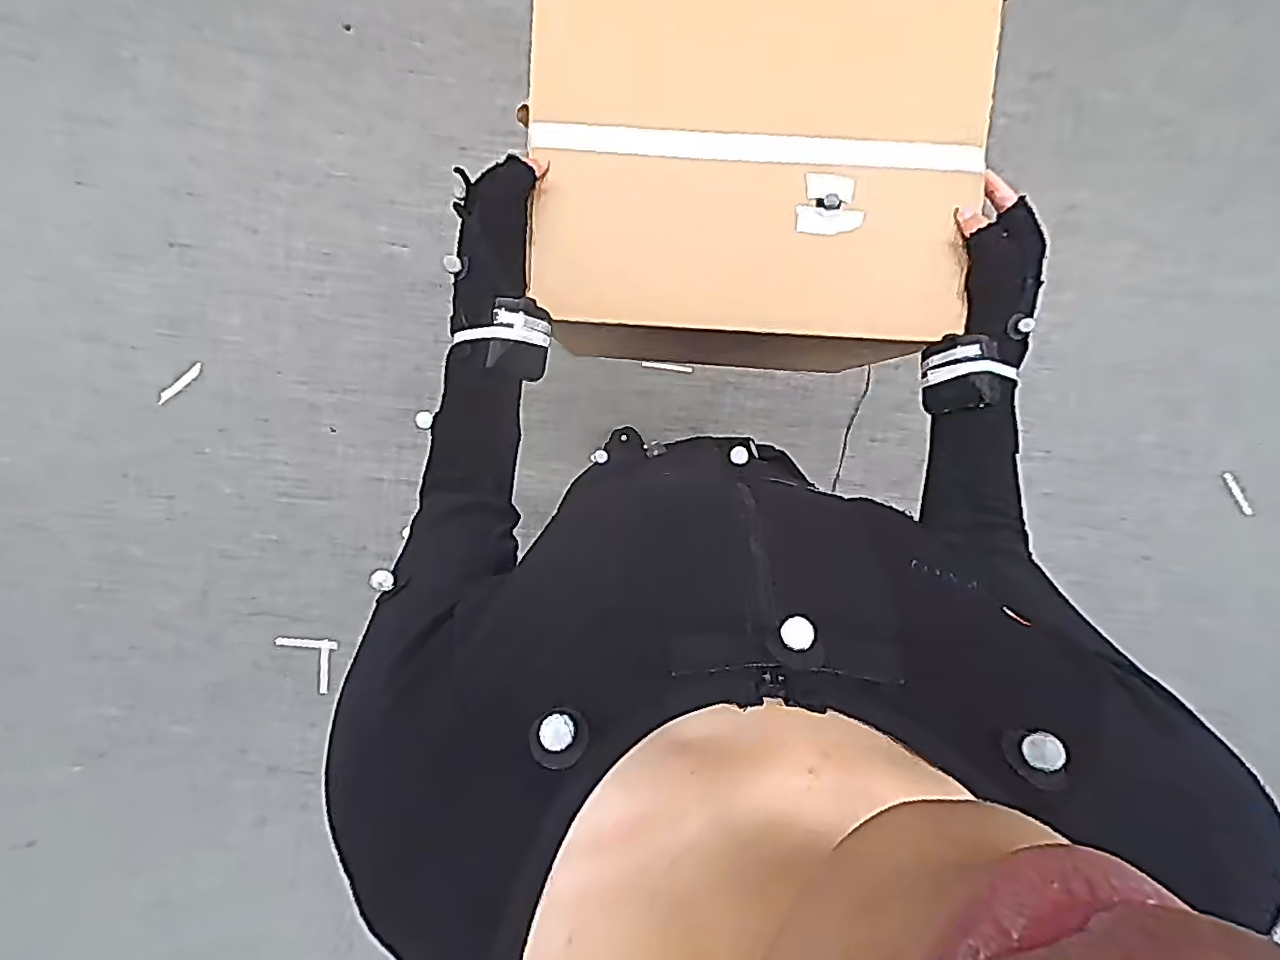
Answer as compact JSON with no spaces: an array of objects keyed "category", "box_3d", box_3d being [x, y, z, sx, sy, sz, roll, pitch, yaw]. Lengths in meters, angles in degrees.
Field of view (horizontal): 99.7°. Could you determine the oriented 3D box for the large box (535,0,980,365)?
[{"category":"large box","box_3d":[0.100,-0.314,0.646,0.408,0.320,0.320,3,97,-1]}]
